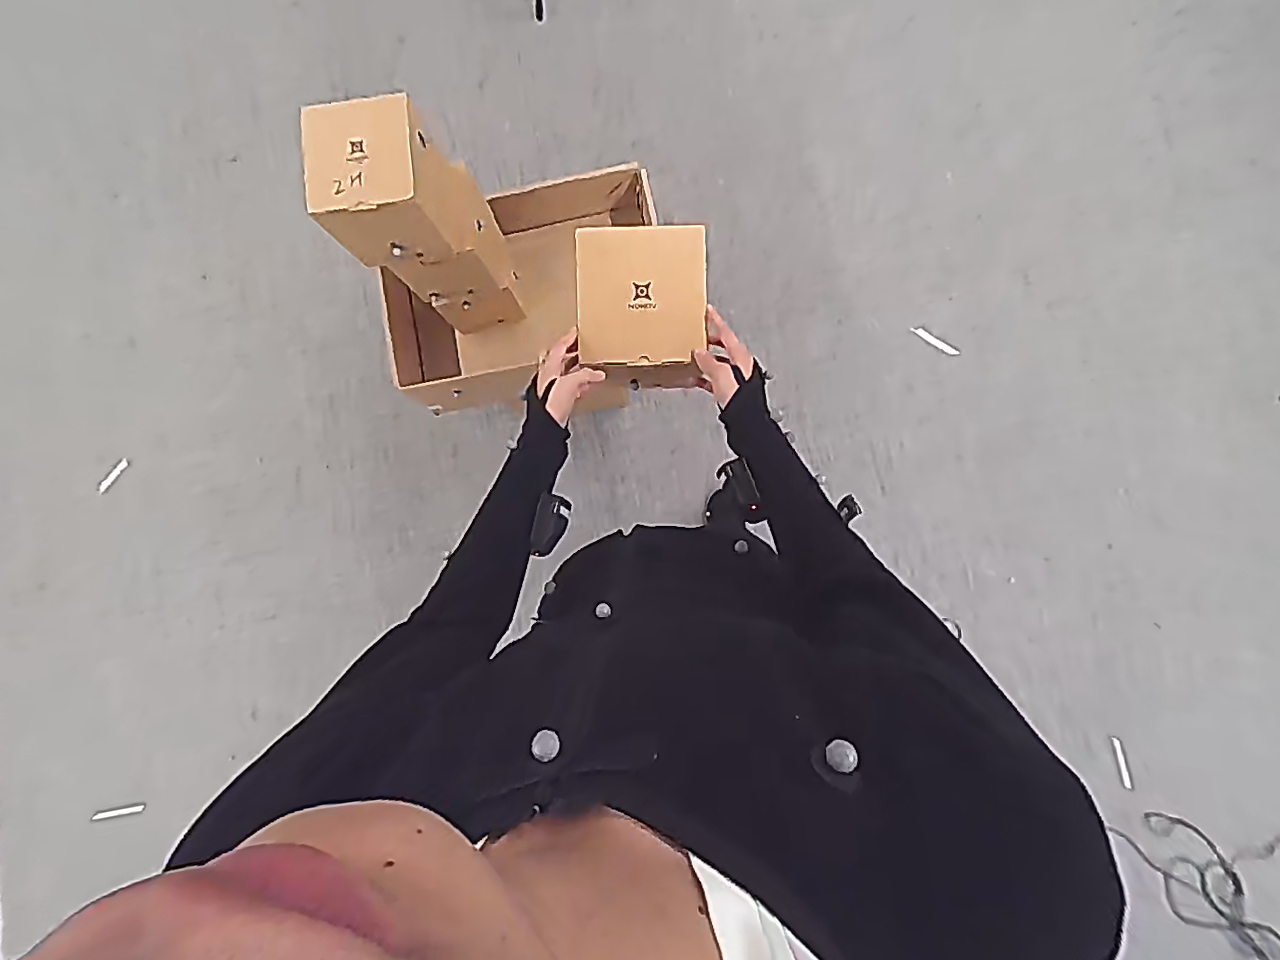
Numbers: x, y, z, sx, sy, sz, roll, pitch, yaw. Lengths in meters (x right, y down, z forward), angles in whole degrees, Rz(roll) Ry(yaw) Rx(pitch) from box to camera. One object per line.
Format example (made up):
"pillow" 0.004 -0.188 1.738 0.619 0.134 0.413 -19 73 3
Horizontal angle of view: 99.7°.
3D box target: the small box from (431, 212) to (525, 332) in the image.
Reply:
"small box" -0.371 -0.459 1.215 0.168 0.176 0.179 -14 84 1

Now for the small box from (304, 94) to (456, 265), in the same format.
"small box" -0.417 -0.482 0.888 0.168 0.176 0.179 -7 85 1

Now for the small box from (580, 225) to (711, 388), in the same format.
"small box" 0.005 -0.233 0.762 0.168 0.176 0.179 -2 90 0

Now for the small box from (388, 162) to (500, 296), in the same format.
"small box" -0.381 -0.474 1.051 0.168 0.176 0.179 -8 84 1
